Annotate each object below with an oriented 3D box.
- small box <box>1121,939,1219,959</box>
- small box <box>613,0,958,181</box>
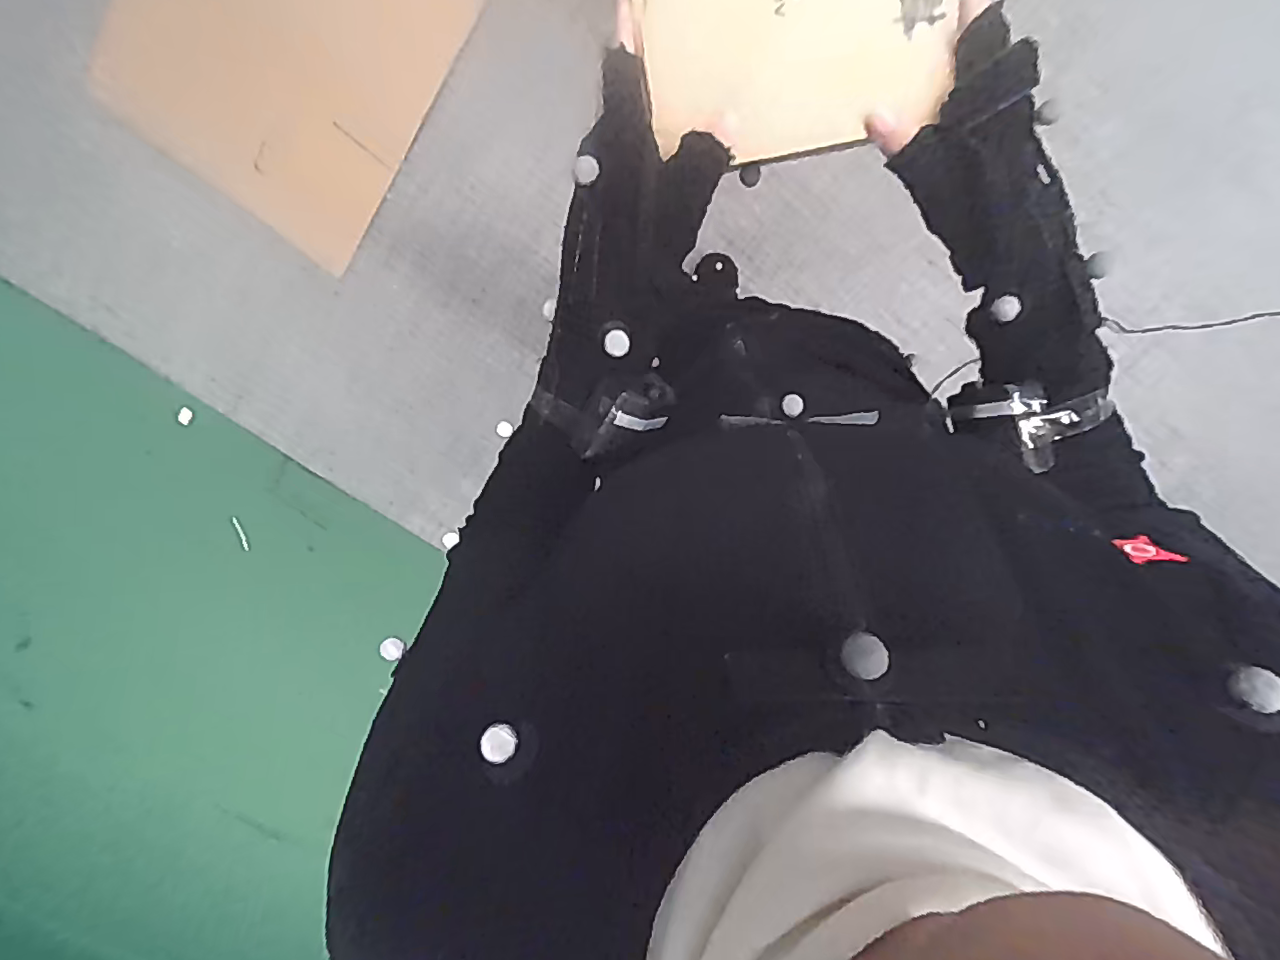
[{"bbox_3d":[1.035,0.993,0.989,0.179,0.176,0.168,33,111,-10],"label":"small box"},{"bbox_3d":[0.075,-0.309,0.352,0.179,0.176,0.168,-13,114,3],"label":"small box"}]
